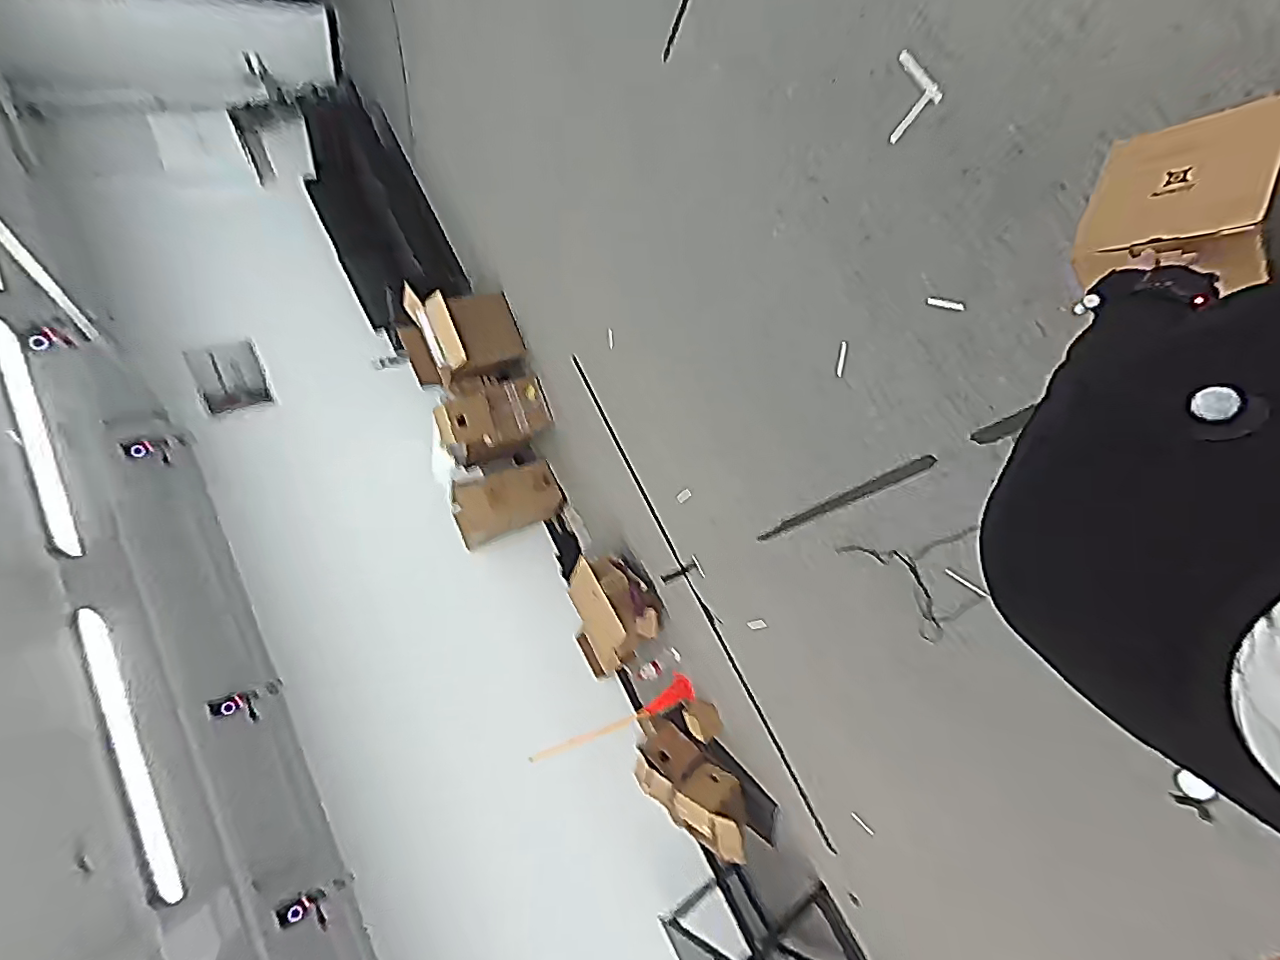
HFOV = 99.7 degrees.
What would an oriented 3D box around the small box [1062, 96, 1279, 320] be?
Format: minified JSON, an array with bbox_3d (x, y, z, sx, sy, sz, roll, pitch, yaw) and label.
[{"bbox_3d":[0.682,-0.319,0.685,0.168,0.176,0.179,15,79,55],"label":"small box"}]
